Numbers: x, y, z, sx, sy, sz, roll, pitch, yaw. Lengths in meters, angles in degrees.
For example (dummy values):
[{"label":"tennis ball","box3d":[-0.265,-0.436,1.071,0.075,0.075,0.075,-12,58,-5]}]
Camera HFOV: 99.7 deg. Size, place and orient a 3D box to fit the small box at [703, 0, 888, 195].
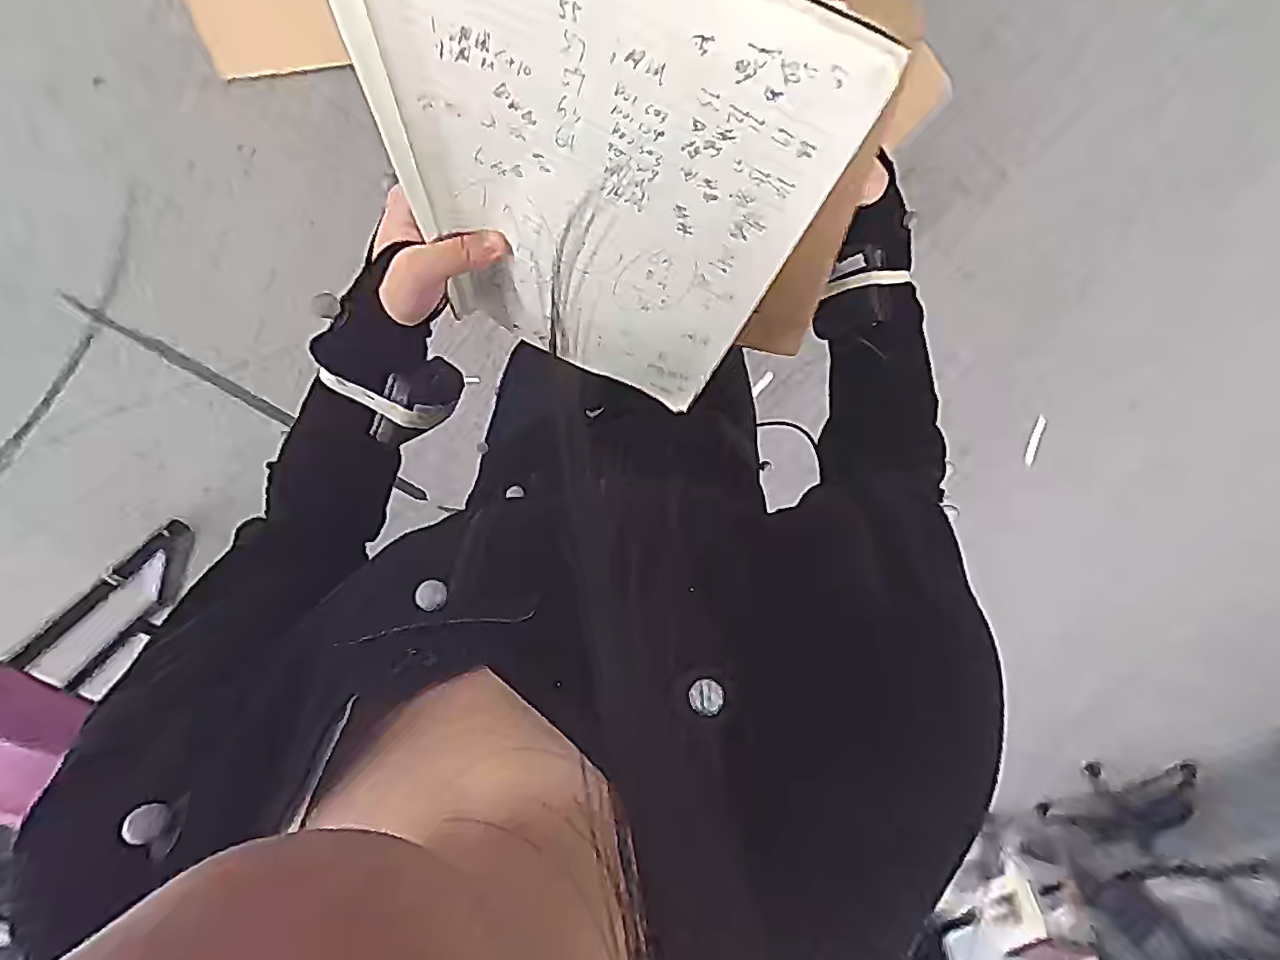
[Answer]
[{"label":"small box","box3d":[0.204,-0.540,0.759,0.168,0.176,0.179,30,122,-17]}]
